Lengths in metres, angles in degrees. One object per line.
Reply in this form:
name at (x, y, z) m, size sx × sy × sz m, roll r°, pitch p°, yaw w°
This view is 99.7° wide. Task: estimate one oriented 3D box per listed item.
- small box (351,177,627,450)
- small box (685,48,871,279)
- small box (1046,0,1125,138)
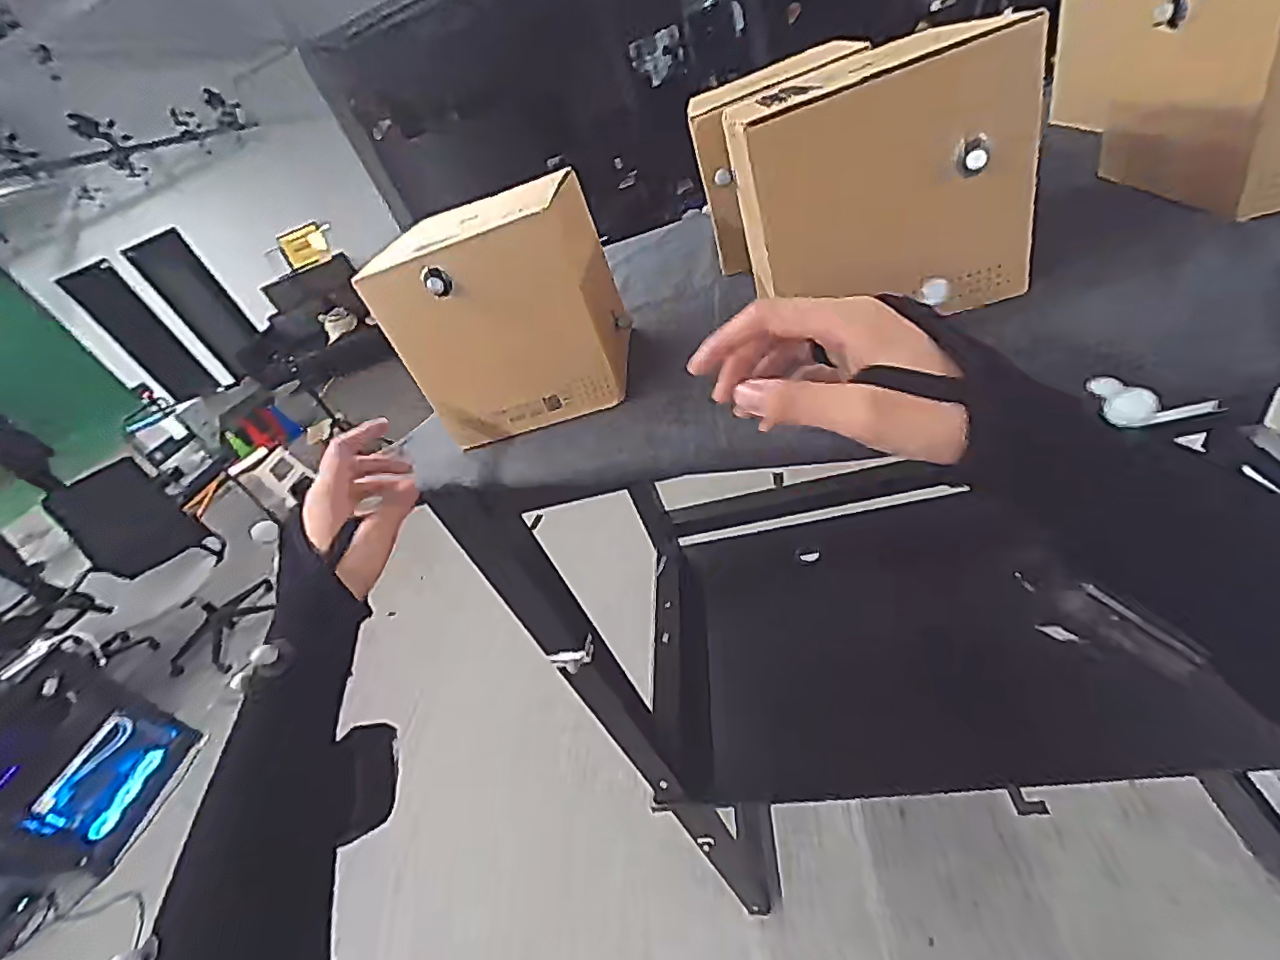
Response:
small box at (-0.117, -0.154, 0.506) m, size 0.168 × 0.176 × 0.179 m, roll -15°, pitch 35°, yaw 12°
small box at (0.157, -0.360, 0.624) m, size 0.179 × 0.176 × 0.168 m, roll -13°, pitch 37°, yaw 15°
small box at (0.535, -0.452, 0.523) m, size 0.168 × 0.176 × 0.179 m, roll -14°, pitch 37°, yaw 12°
